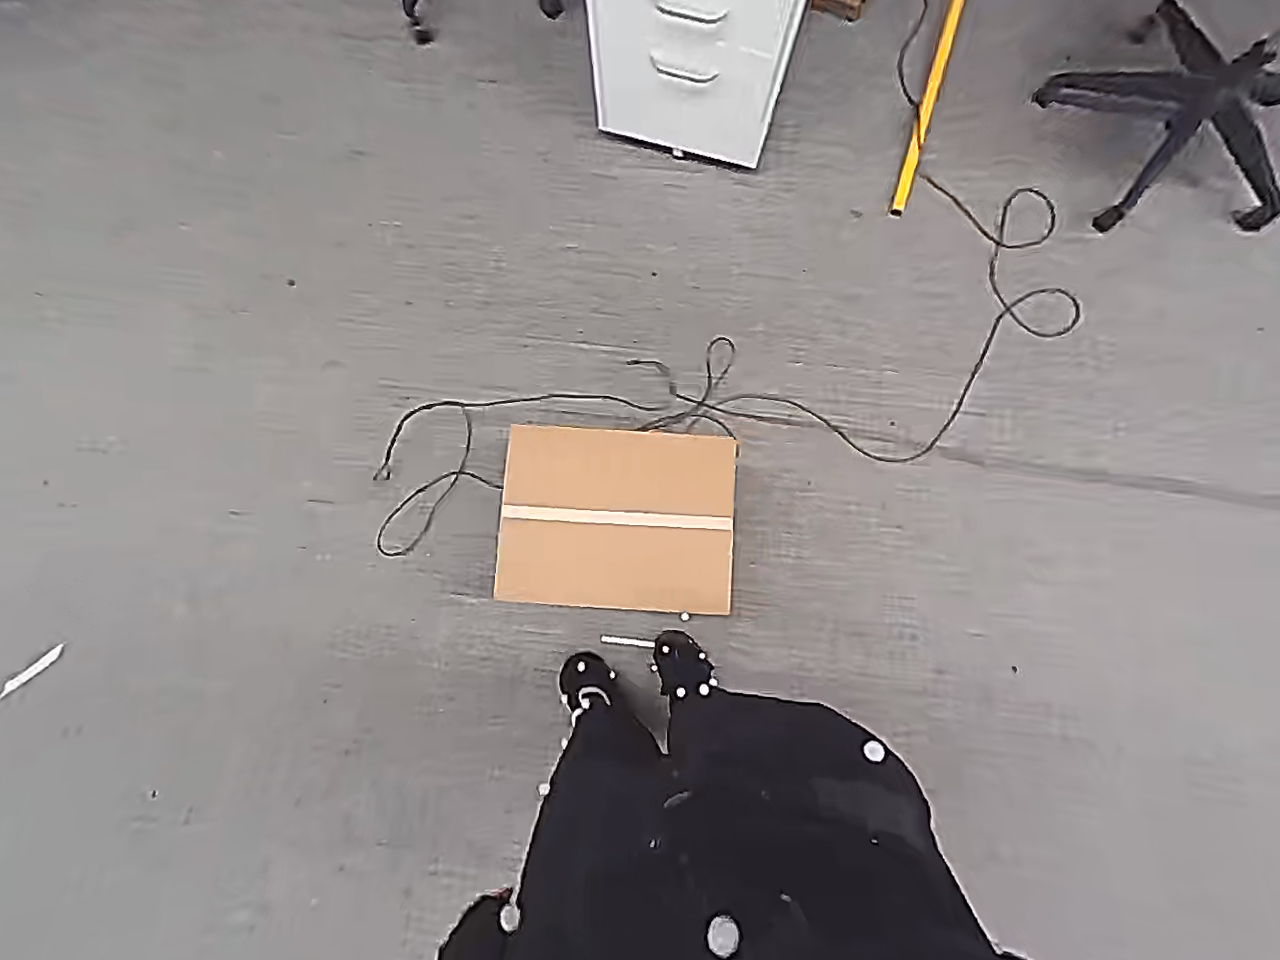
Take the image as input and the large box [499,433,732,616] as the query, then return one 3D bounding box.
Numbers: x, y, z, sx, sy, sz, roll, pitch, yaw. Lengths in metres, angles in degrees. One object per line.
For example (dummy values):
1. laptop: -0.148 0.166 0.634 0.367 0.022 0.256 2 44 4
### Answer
1. large box: -0.037 0.093 1.096 0.408 0.320 0.320 3 81 1
